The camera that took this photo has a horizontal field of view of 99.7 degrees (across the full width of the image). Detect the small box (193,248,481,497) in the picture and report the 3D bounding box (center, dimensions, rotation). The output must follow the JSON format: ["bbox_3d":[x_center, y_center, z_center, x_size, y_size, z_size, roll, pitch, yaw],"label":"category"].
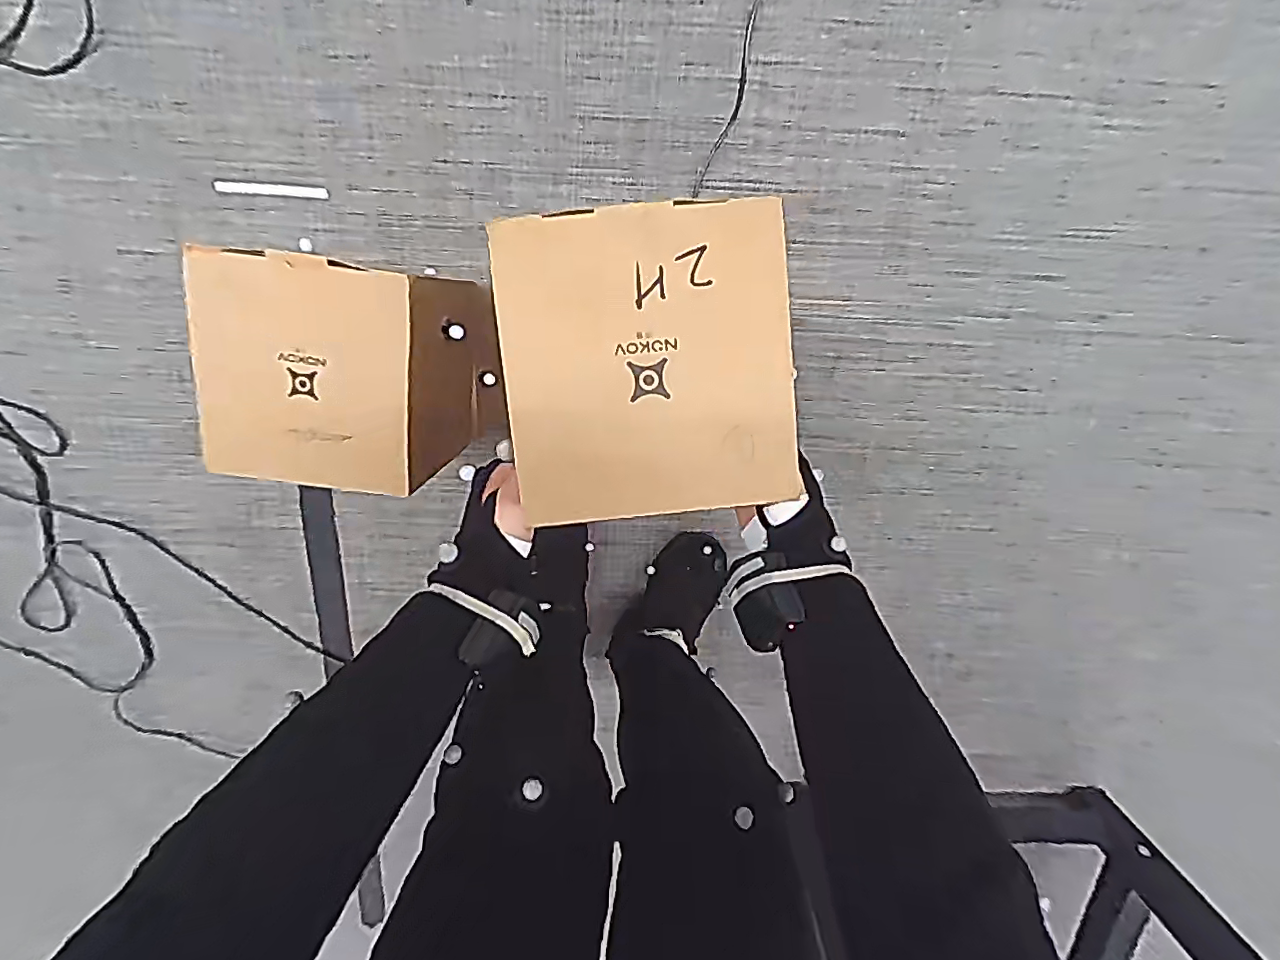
[{"bbox_3d":[-0.251,-0.101,0.494,0.168,0.176,0.179,7,109,-1],"label":"small box"}]

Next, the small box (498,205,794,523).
[{"bbox_3d":[0.004,-0.076,0.399,0.168,0.176,0.179,-6,96,-2],"label":"small box"}]

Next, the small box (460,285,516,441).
[{"bbox_3d":[-0.255,-0.149,0.652,0.179,0.176,0.168,3,108,-1],"label":"small box"}]
